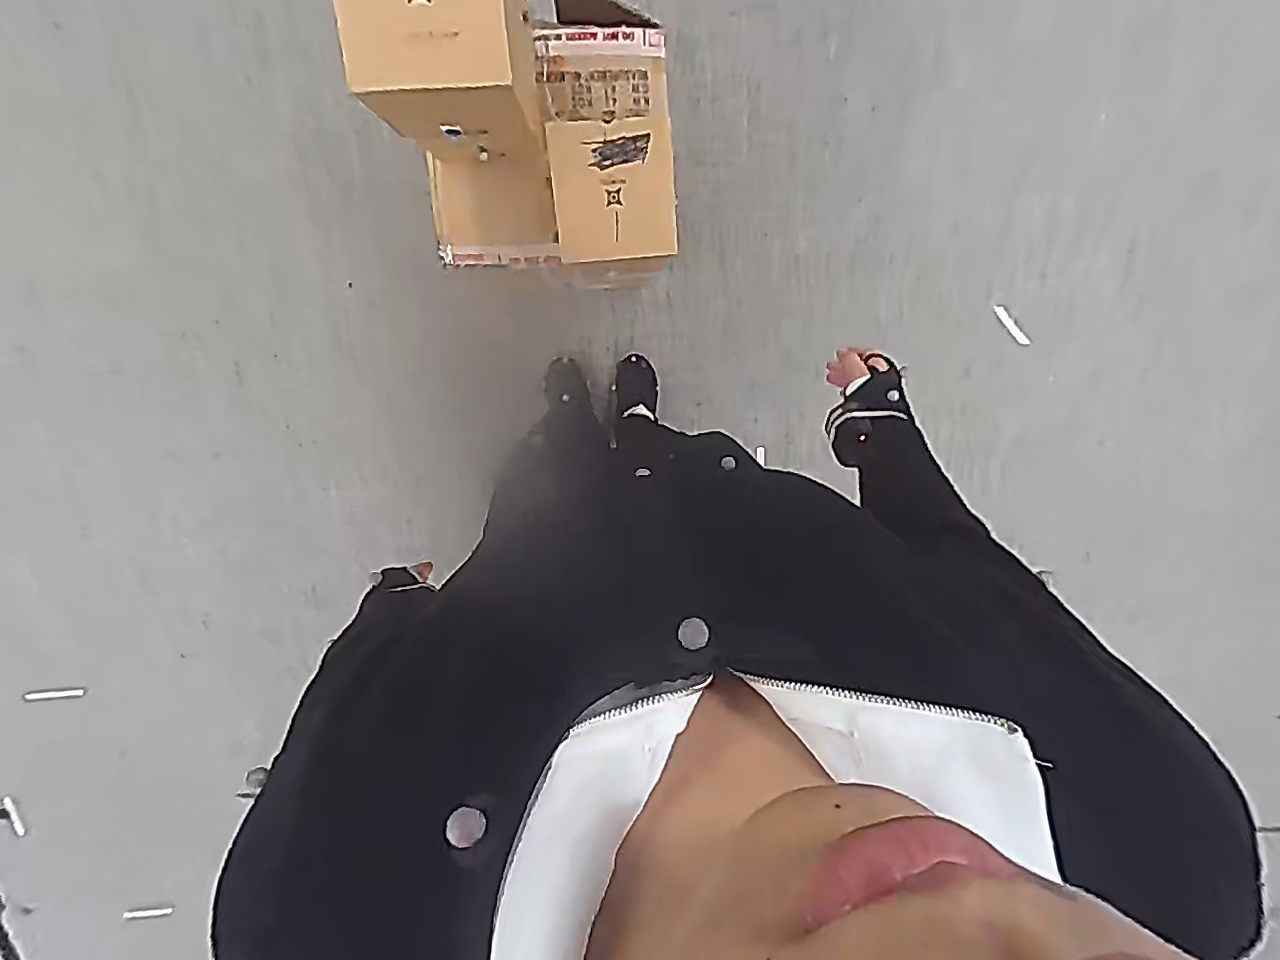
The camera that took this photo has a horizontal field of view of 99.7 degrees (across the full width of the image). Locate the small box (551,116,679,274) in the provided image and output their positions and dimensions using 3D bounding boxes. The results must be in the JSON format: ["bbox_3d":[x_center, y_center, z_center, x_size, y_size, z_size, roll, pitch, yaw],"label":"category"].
[{"bbox_3d":[-0.038,-0.412,0.806,0.168,0.176,0.179,-6,107,-3],"label":"small box"}]

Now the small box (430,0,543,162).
[{"bbox_3d":[-0.230,-0.563,0.747,0.168,0.176,0.179,-4,107,-2],"label":"small box"}]

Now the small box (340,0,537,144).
[{"bbox_3d":[-0.213,-0.498,0.598,0.168,0.176,0.179,-4,108,-1],"label":"small box"}]
